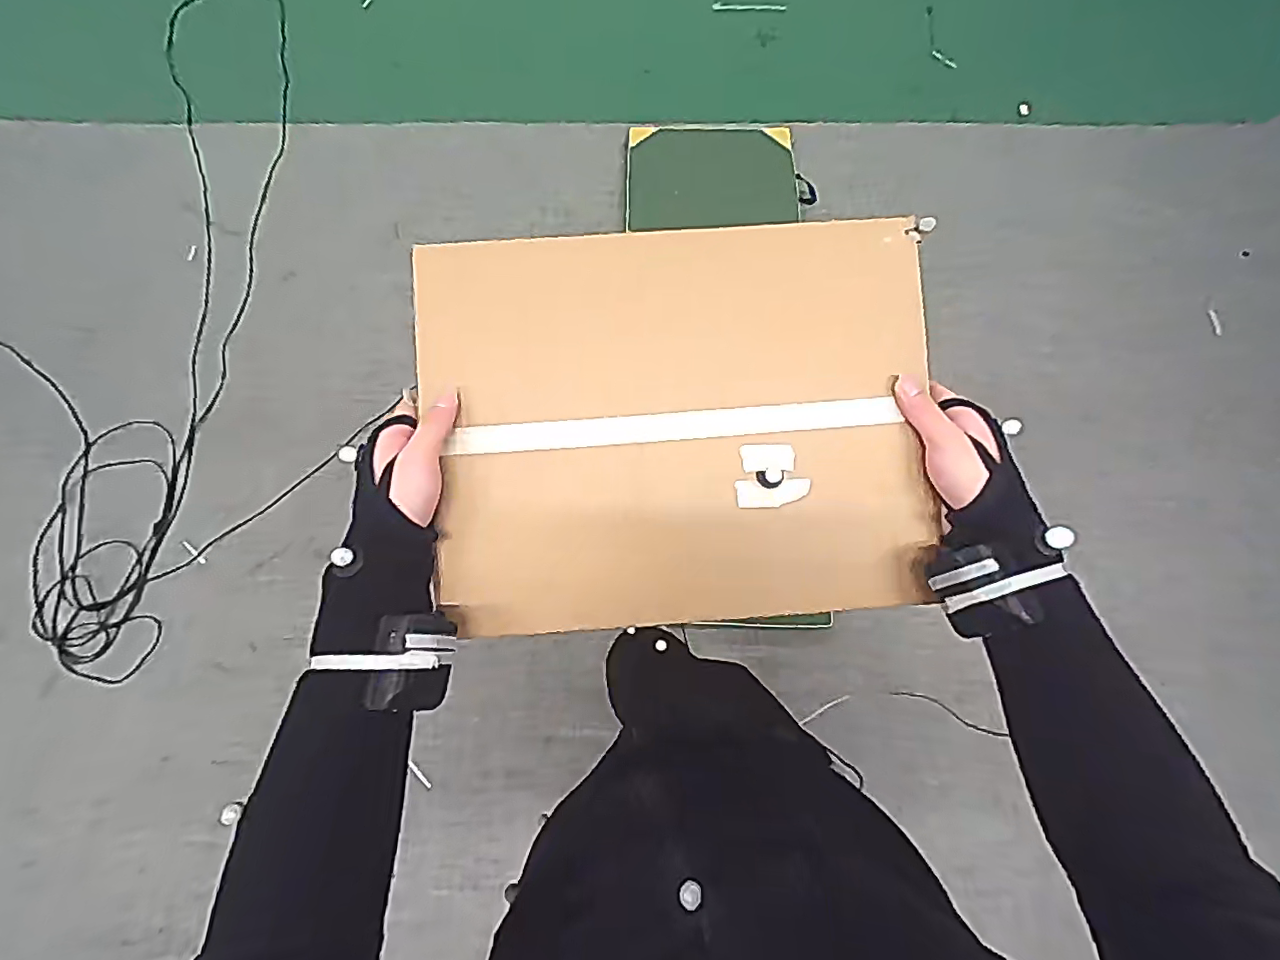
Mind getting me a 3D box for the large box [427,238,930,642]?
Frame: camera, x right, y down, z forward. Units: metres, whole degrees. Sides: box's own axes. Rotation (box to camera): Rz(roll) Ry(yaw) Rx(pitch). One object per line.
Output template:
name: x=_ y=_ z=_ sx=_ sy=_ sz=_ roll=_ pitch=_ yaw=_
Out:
large box: x=0.026 y=-0.032 z=0.596 sx=0.408 sy=0.320 sz=0.320 roll=-4 pitch=89 yaw=-2
